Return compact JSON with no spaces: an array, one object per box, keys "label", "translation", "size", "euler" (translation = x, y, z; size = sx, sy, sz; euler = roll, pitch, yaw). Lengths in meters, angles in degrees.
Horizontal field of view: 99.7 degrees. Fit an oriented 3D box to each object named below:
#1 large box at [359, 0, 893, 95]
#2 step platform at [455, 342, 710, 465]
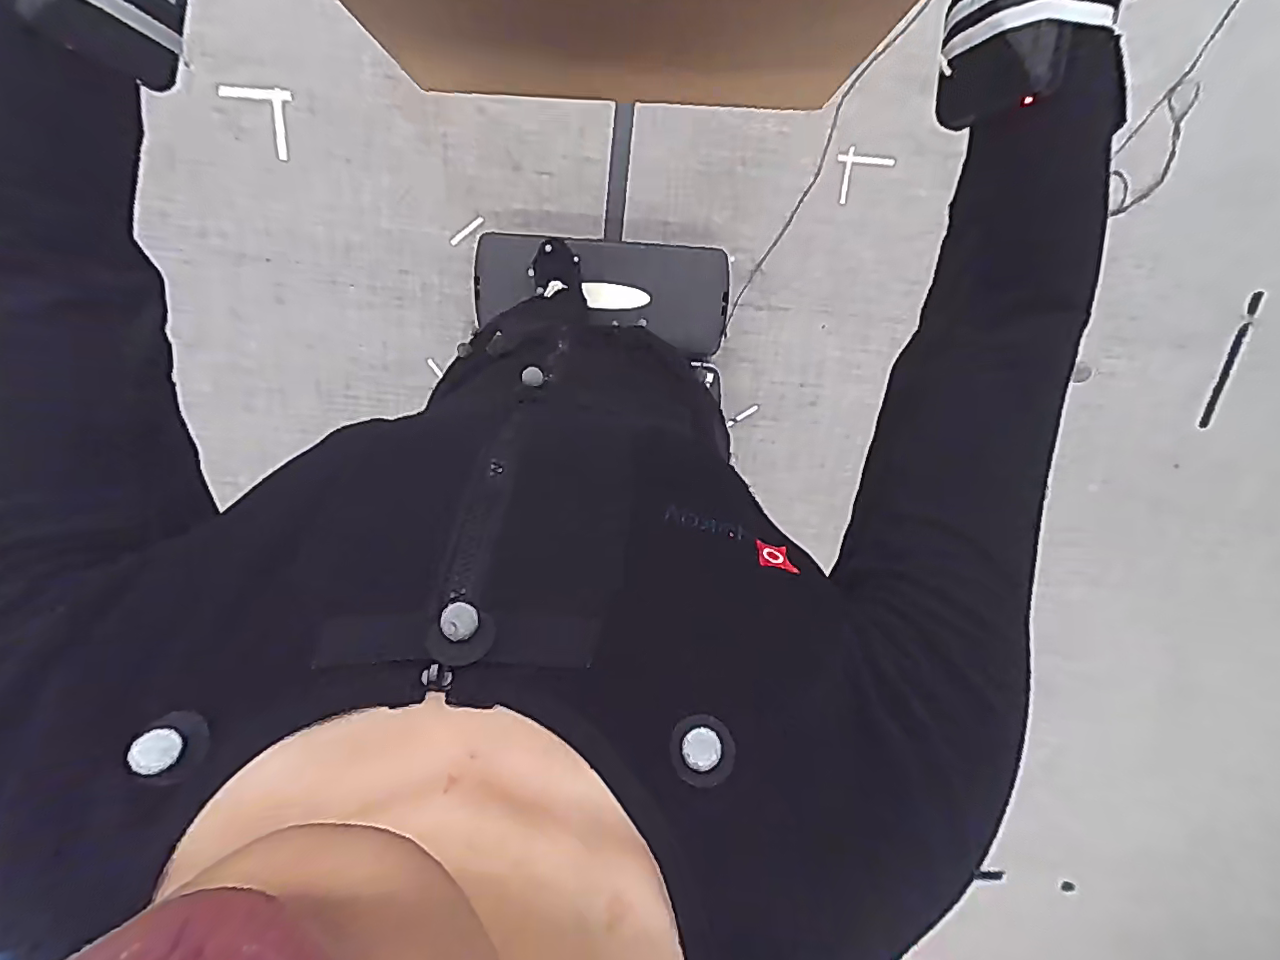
[{"label":"large box","translation":[-0.011,-0.495,0.361],"size":[0.408,0.320,0.320],"euler":[1,108,-2]},{"label":"step platform","translation":[-0.151,-0.211,1.489],"size":[0.684,0.204,0.286],"euler":[4,106,-2]}]
